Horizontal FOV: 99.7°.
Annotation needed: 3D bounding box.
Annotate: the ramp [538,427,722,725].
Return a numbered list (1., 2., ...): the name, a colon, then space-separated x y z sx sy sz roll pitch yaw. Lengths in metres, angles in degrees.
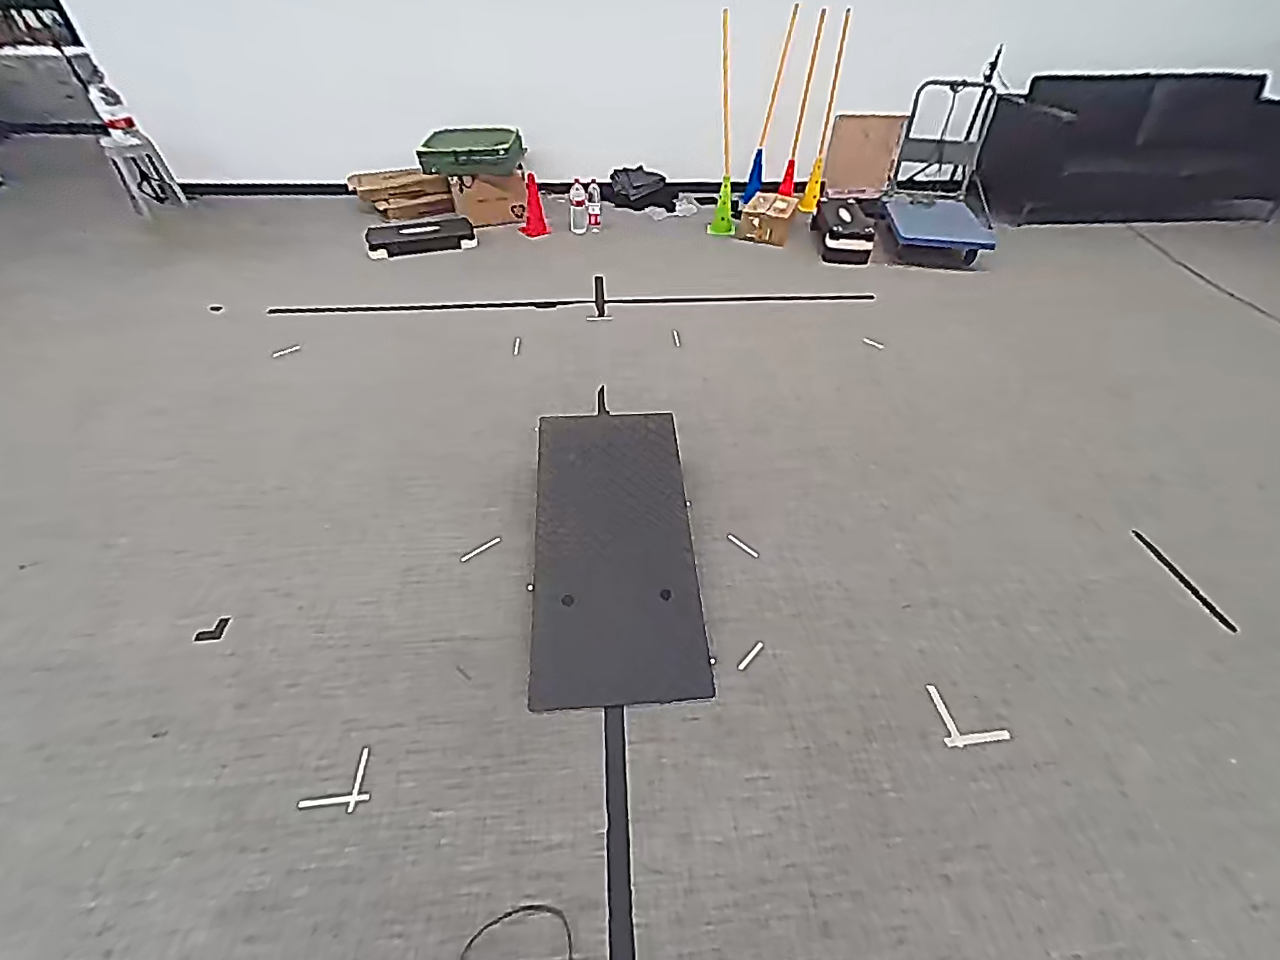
1. ramp: -0.065 0.218 1.695 0.509 0.206 0.991 -4 43 -6
